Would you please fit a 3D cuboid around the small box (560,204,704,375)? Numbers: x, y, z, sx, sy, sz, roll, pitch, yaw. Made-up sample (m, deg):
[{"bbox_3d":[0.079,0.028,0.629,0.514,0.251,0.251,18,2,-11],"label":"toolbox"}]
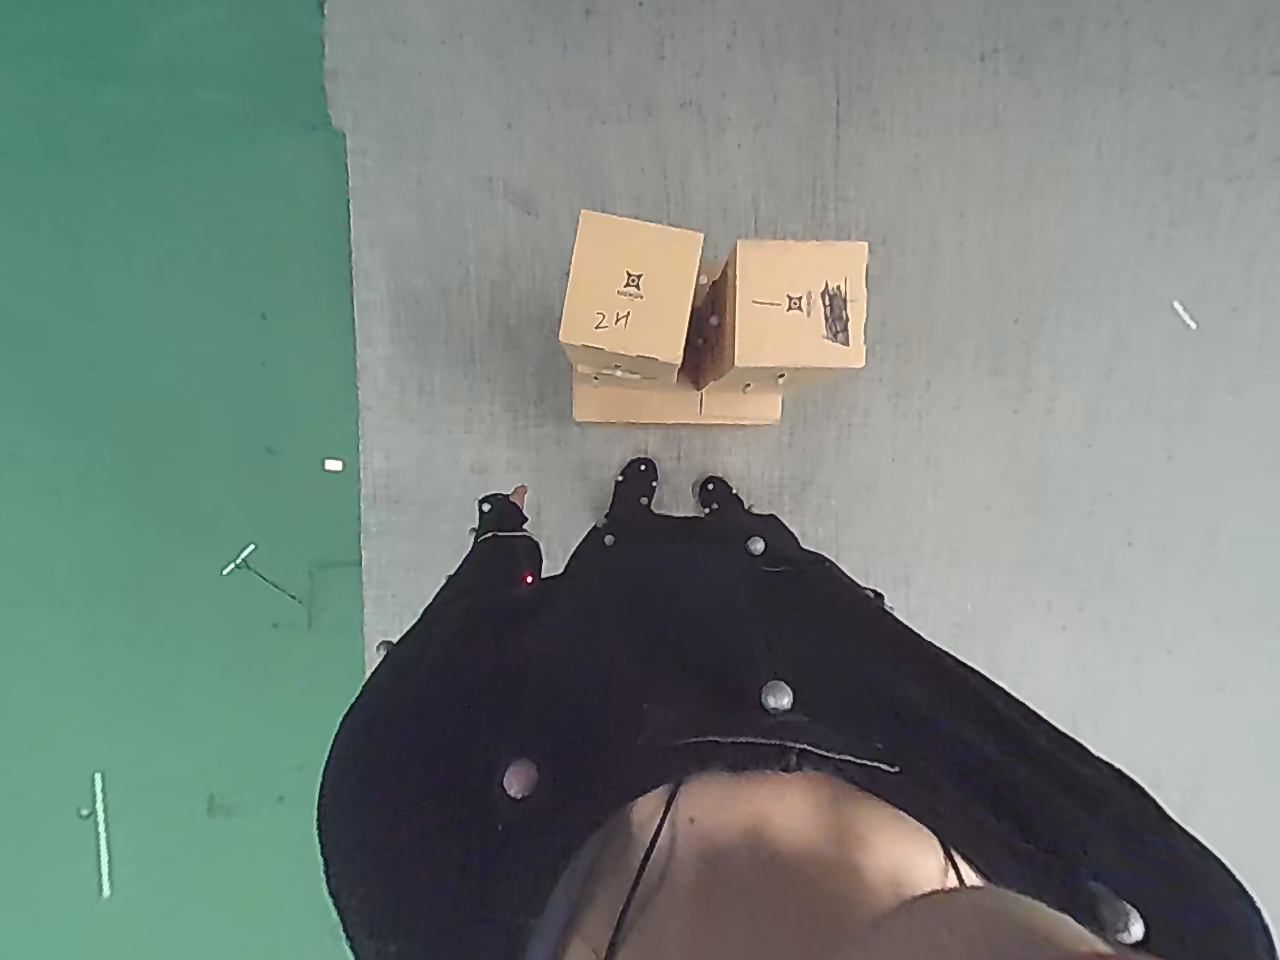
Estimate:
[{"bbox_3d":[-0.013,-0.262,0.786,0.168,0.176,0.179,11,93,-2],"label":"small box"}]
